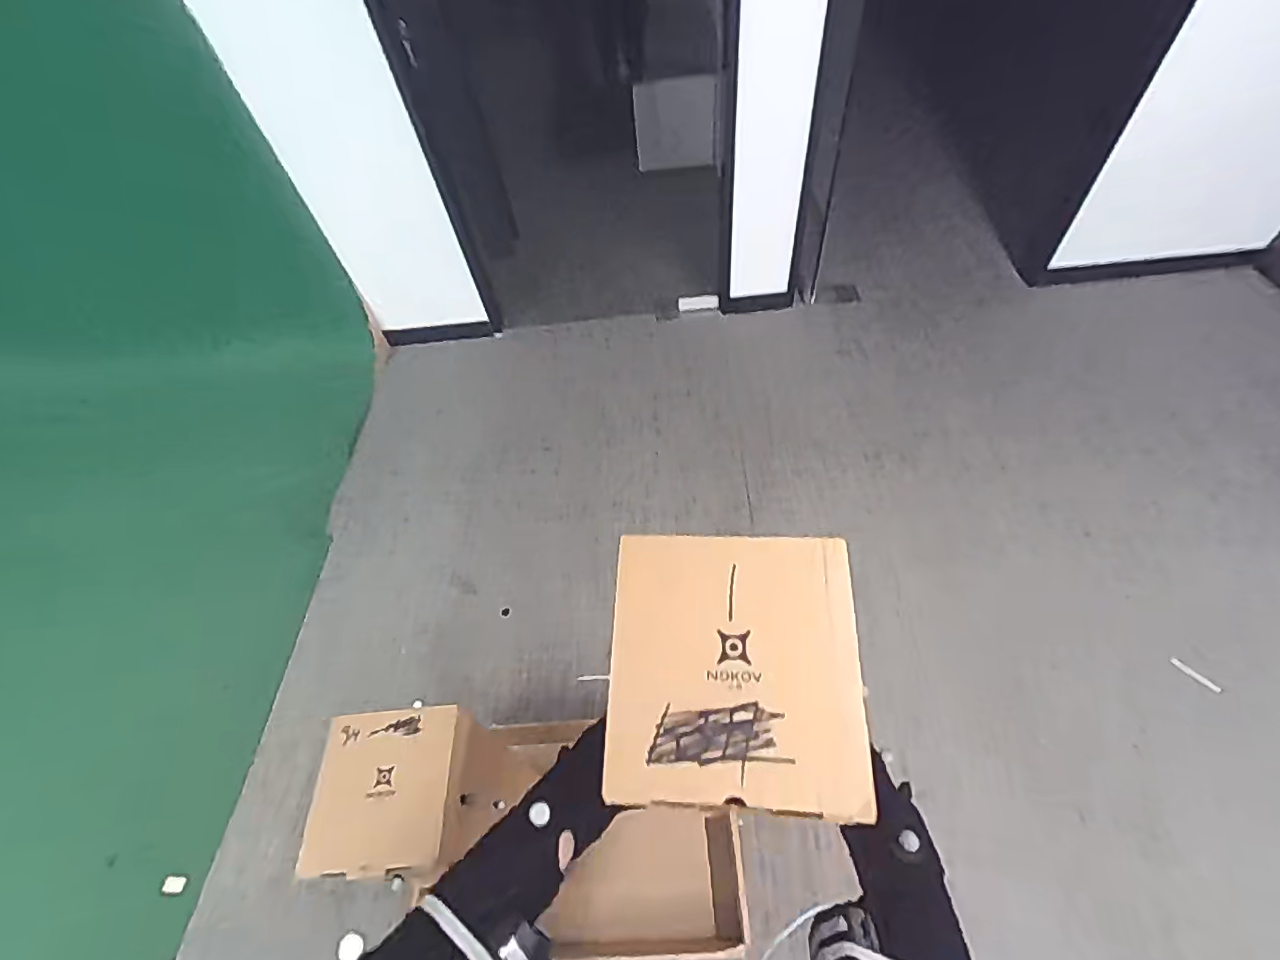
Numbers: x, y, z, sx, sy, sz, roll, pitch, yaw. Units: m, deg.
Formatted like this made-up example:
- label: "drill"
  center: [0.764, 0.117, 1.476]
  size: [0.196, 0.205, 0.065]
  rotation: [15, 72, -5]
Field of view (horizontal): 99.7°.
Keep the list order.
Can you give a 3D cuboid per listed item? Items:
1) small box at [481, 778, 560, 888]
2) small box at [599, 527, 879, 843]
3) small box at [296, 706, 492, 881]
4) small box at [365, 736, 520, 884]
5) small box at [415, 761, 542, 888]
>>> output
- label: "small box"
  center: [-0.263, 0.718, 1.097]
  size: [0.168, 0.176, 0.179]
  rotation: [-3, 53, 4]
- label: "small box"
  center: [0.072, 0.150, 0.418]
  size: [0.168, 0.176, 0.179]
  rotation: [4, 67, 7]
- label: "small box"
  center: [-0.303, 0.415, 0.714]
  size: [0.168, 0.176, 0.179]
  rotation: [-5, 54, 1]
- label: "small box"
  center: [-0.291, 0.515, 0.842]
  size: [0.168, 0.176, 0.179]
  rotation: [-5, 53, 1]
- label: "small box"
  center: [-0.276, 0.618, 0.969]
  size: [0.168, 0.176, 0.179]
  rotation: [-4, 53, 2]
